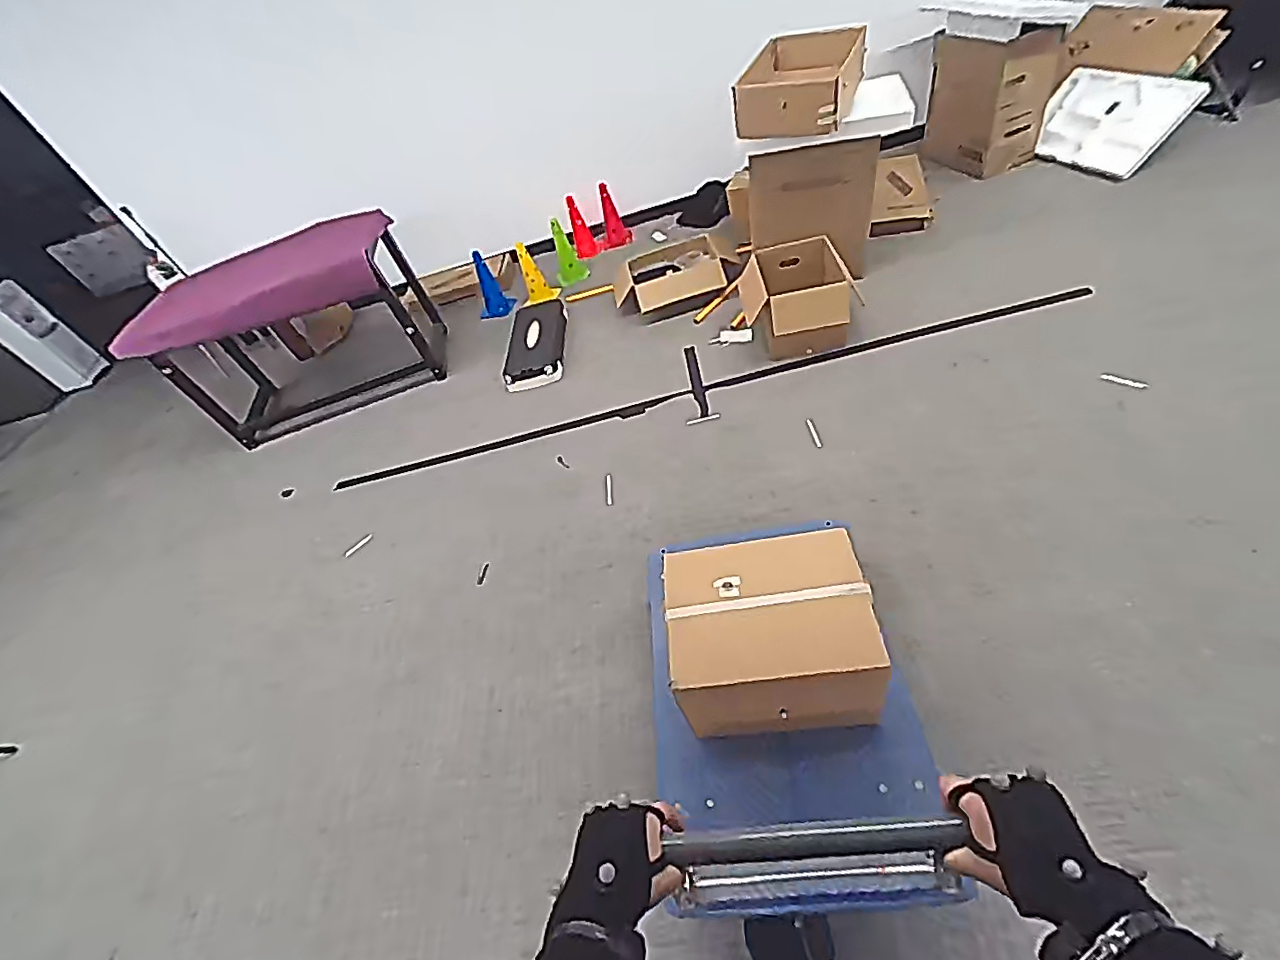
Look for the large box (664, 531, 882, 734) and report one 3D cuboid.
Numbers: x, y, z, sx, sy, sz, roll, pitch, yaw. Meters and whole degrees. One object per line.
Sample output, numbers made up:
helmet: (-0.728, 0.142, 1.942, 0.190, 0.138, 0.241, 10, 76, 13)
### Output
large box: (0.290, 0.357, 1.228, 0.408, 0.320, 0.320, -11, 46, 11)
